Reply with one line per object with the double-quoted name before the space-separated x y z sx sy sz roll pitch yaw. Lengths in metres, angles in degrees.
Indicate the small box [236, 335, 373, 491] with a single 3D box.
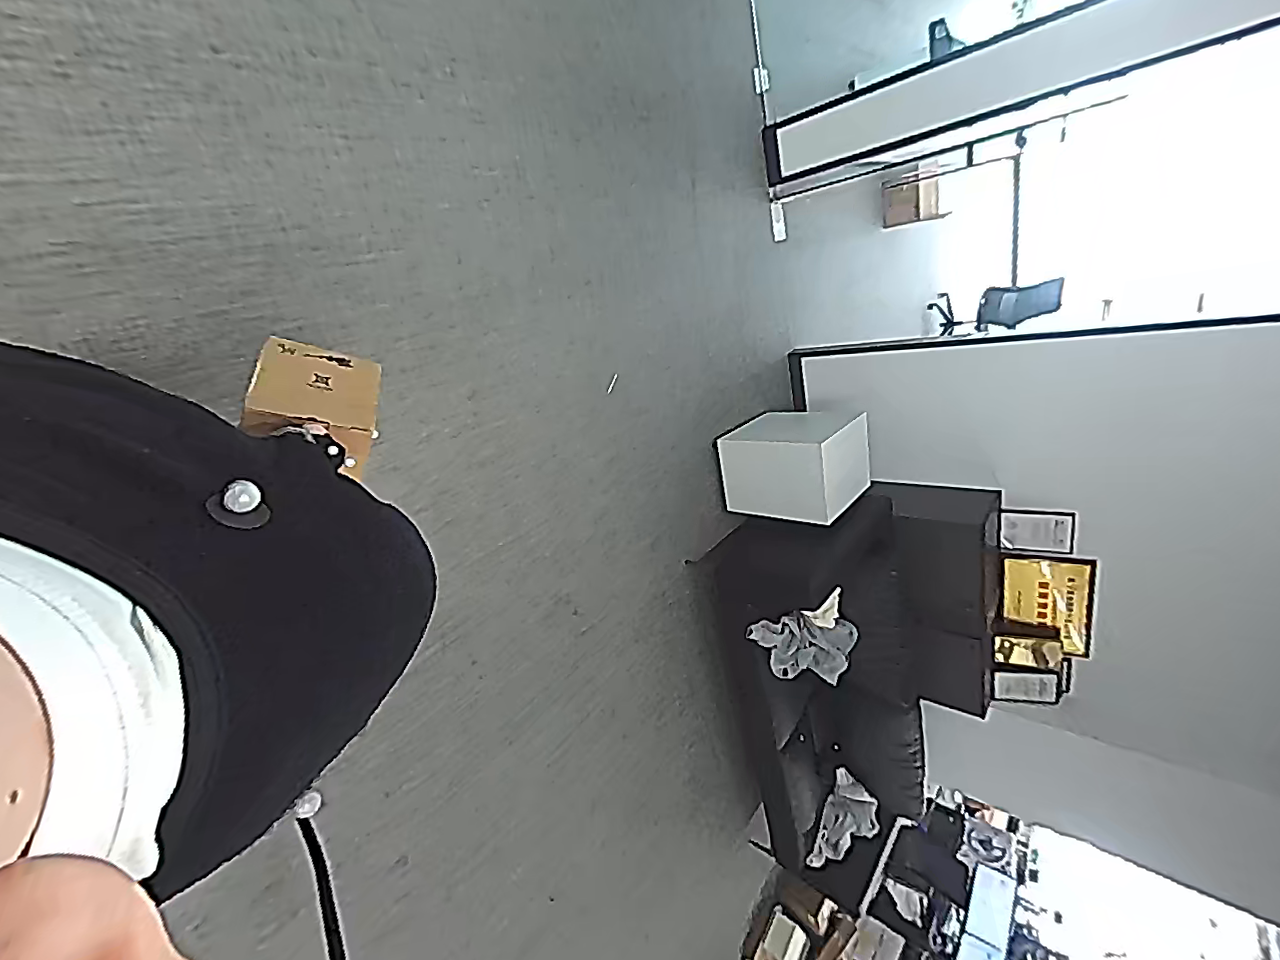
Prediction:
"small box" -0.538 -0.101 0.877 0.168 0.176 0.179 7 45 -31
